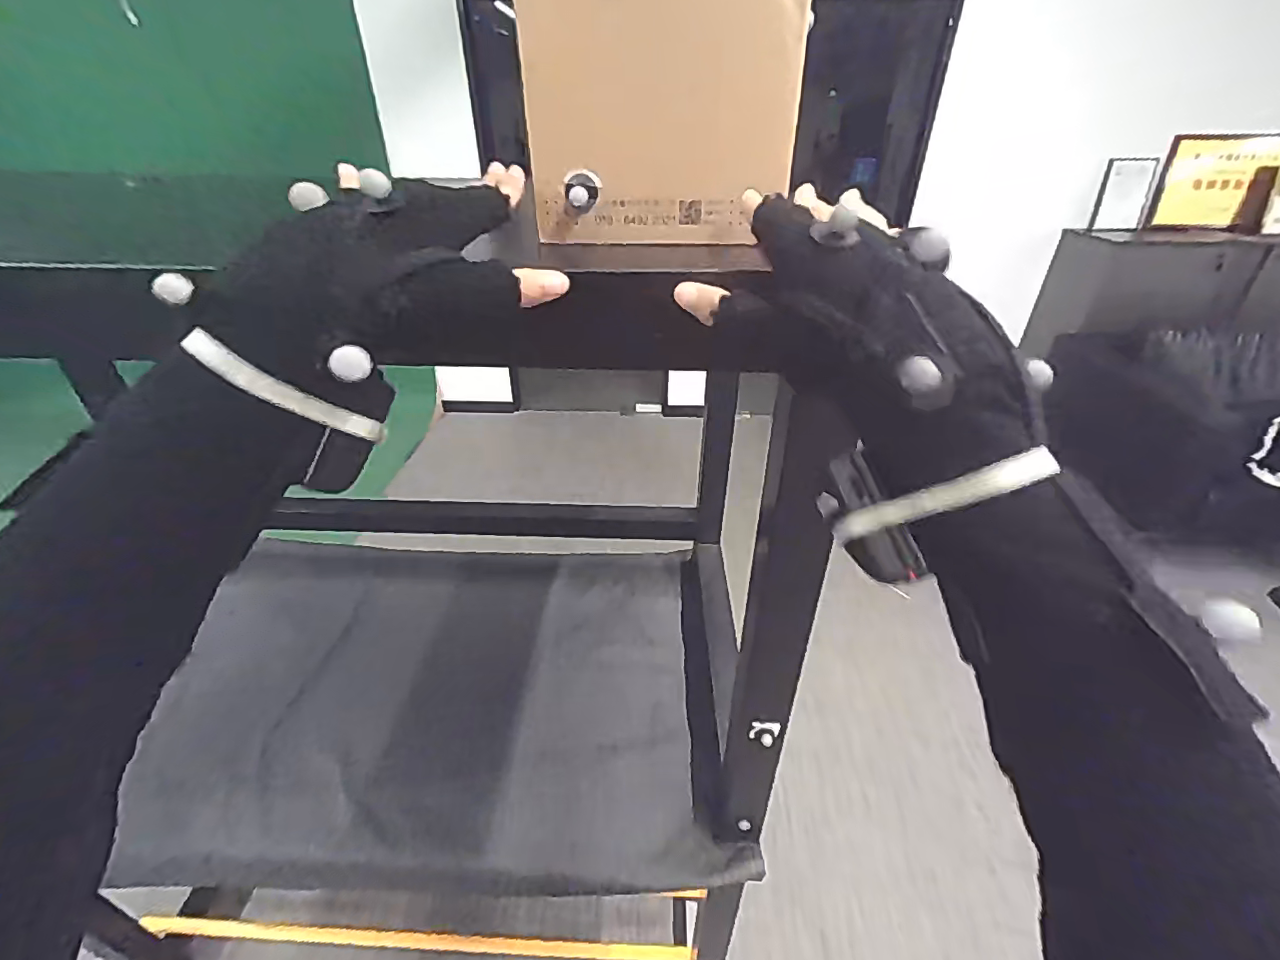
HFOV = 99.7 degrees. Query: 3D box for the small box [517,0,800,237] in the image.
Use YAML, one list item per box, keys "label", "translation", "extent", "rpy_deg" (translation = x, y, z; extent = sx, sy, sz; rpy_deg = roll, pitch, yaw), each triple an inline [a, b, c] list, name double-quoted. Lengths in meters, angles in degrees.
- label: "small box"
  translation: [0.019, -0.279, 0.396]
  extent: [0.168, 0.176, 0.179]
  rpy_deg: [3, 32, 5]
